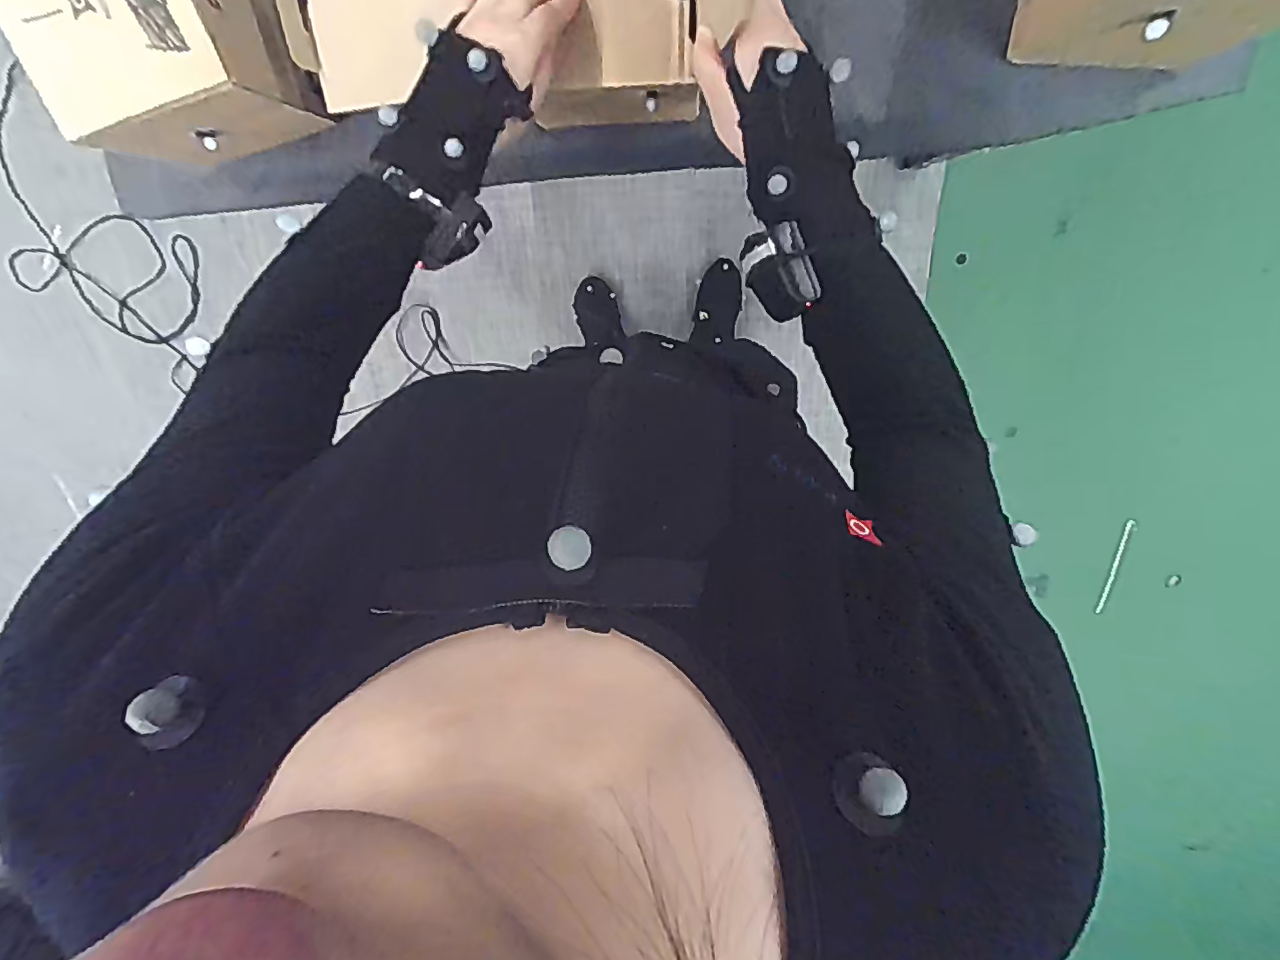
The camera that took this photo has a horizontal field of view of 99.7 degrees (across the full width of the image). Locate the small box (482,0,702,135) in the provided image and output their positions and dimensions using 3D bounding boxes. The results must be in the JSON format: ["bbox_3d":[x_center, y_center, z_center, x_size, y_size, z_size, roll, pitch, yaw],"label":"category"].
[{"bbox_3d":[-0.034,-0.425,0.490,0.179,0.176,0.168,0,114,5],"label":"small box"}]

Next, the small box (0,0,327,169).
[{"bbox_3d":[-0.440,-0.418,0.518,0.179,0.176,0.168,-12,112,9],"label":"small box"}]
